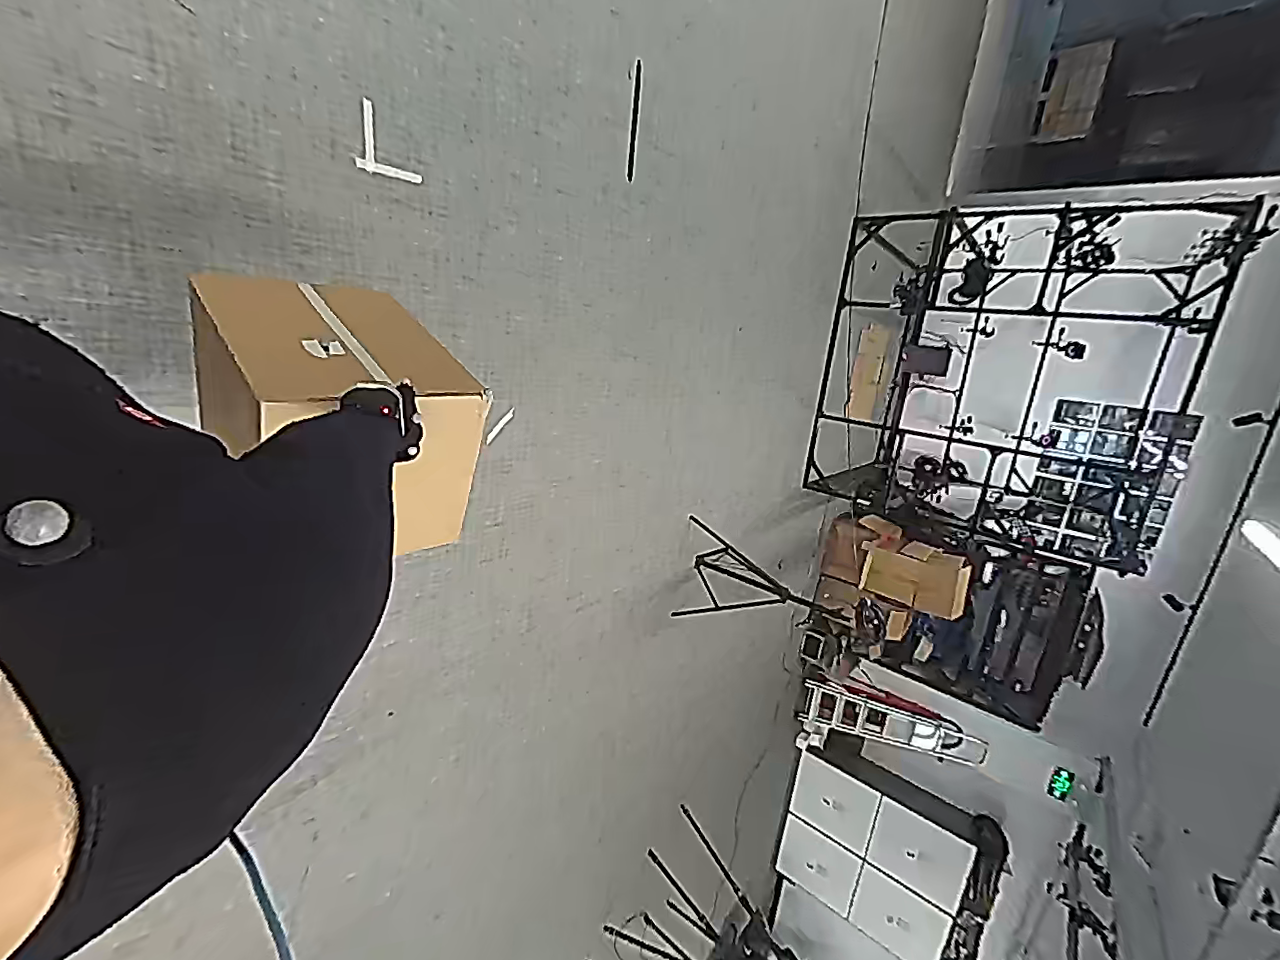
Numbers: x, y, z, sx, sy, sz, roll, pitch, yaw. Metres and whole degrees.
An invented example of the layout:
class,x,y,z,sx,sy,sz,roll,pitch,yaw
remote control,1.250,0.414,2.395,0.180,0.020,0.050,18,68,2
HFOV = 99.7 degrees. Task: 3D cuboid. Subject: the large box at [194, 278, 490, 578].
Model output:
class,x,y,z,sx,sy,sz,roll,pitch,yaw
large box,-0.526,-0.104,0.937,0.320,0.408,0.320,-12,135,-45
